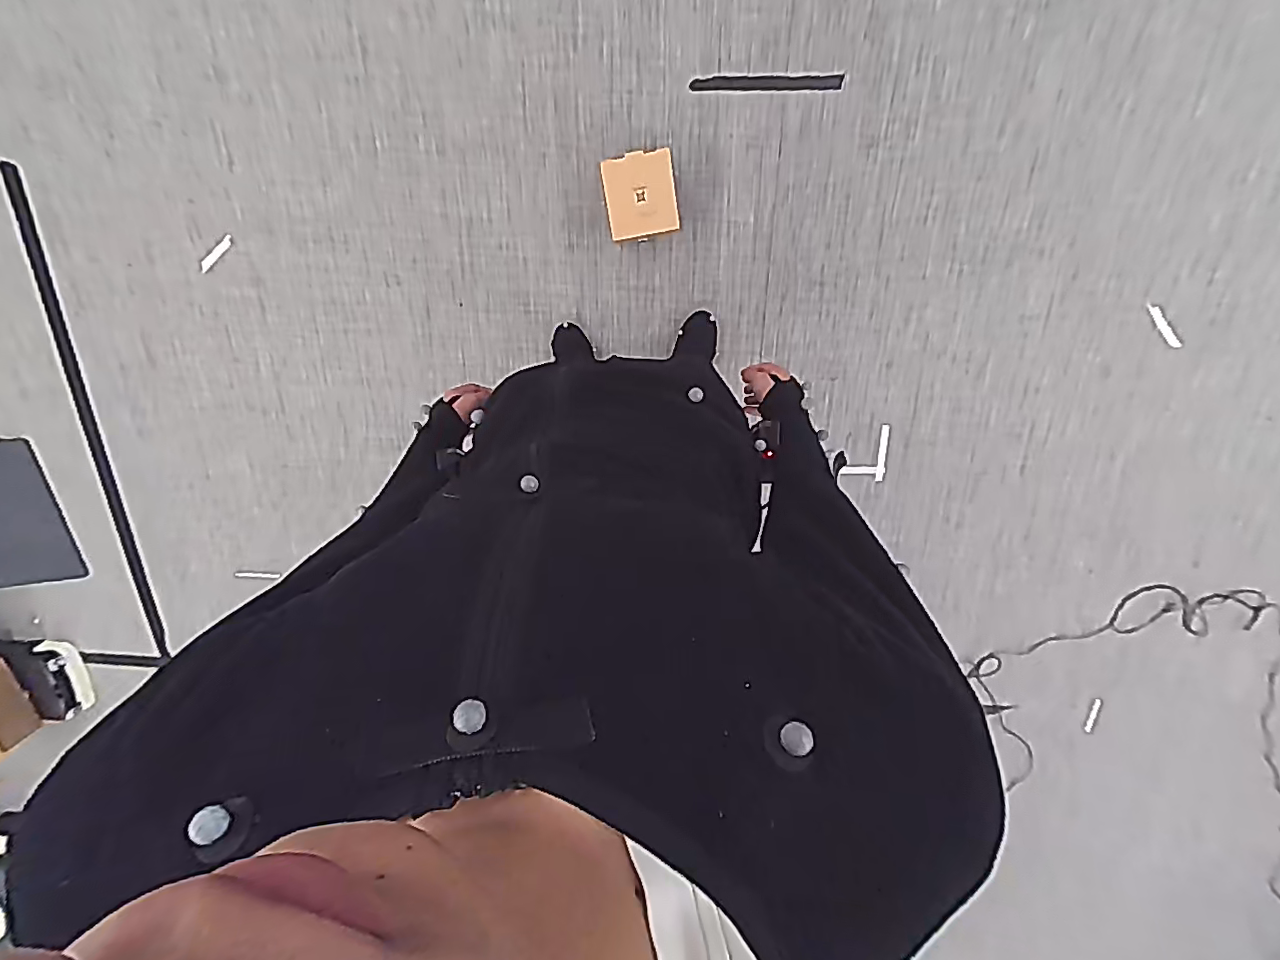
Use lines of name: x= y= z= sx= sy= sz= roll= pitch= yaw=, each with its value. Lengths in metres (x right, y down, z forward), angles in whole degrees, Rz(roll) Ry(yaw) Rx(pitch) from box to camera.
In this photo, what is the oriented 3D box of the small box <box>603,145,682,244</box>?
small box: x=0.009 y=-0.694 z=1.332 sx=0.168 sy=0.176 sz=0.179 roll=-8 pitch=109 yaw=6
